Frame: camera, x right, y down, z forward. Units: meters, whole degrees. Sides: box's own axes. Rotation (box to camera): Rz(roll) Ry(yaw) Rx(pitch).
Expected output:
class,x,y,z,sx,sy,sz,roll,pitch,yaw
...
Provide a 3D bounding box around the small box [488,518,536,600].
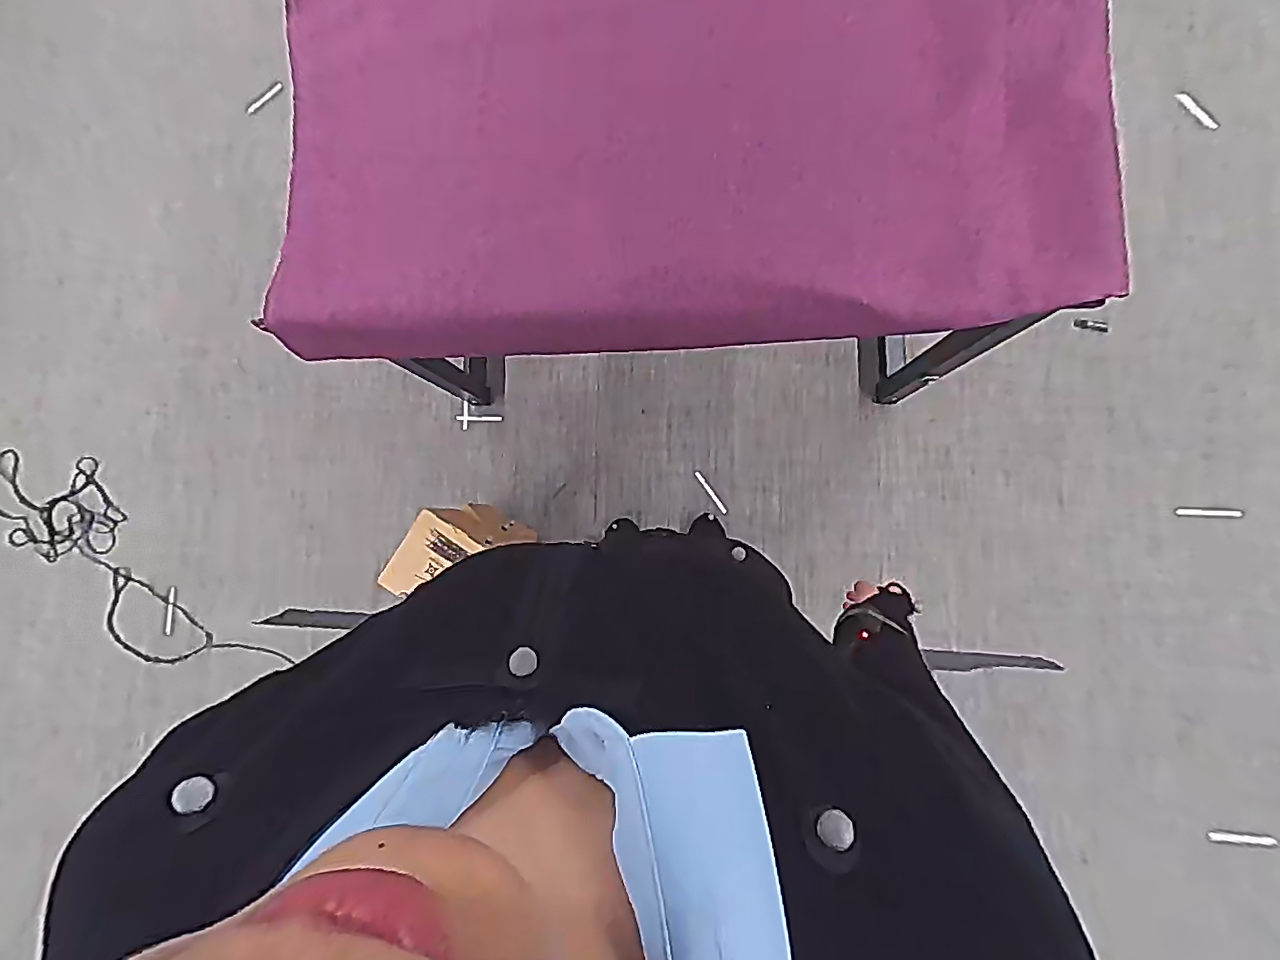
class,x,y,z,sx,sy,sz,roll,pitch,yaw
small box,-0.400,0.201,1.454,0.168,0.176,0.179,24,87,5

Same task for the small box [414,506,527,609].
class,x,y,z,sx,sy,sz,roll,pitch,yaw
small box,-0.390,0.179,1.290,0.179,0.176,0.168,-45,83,-1
